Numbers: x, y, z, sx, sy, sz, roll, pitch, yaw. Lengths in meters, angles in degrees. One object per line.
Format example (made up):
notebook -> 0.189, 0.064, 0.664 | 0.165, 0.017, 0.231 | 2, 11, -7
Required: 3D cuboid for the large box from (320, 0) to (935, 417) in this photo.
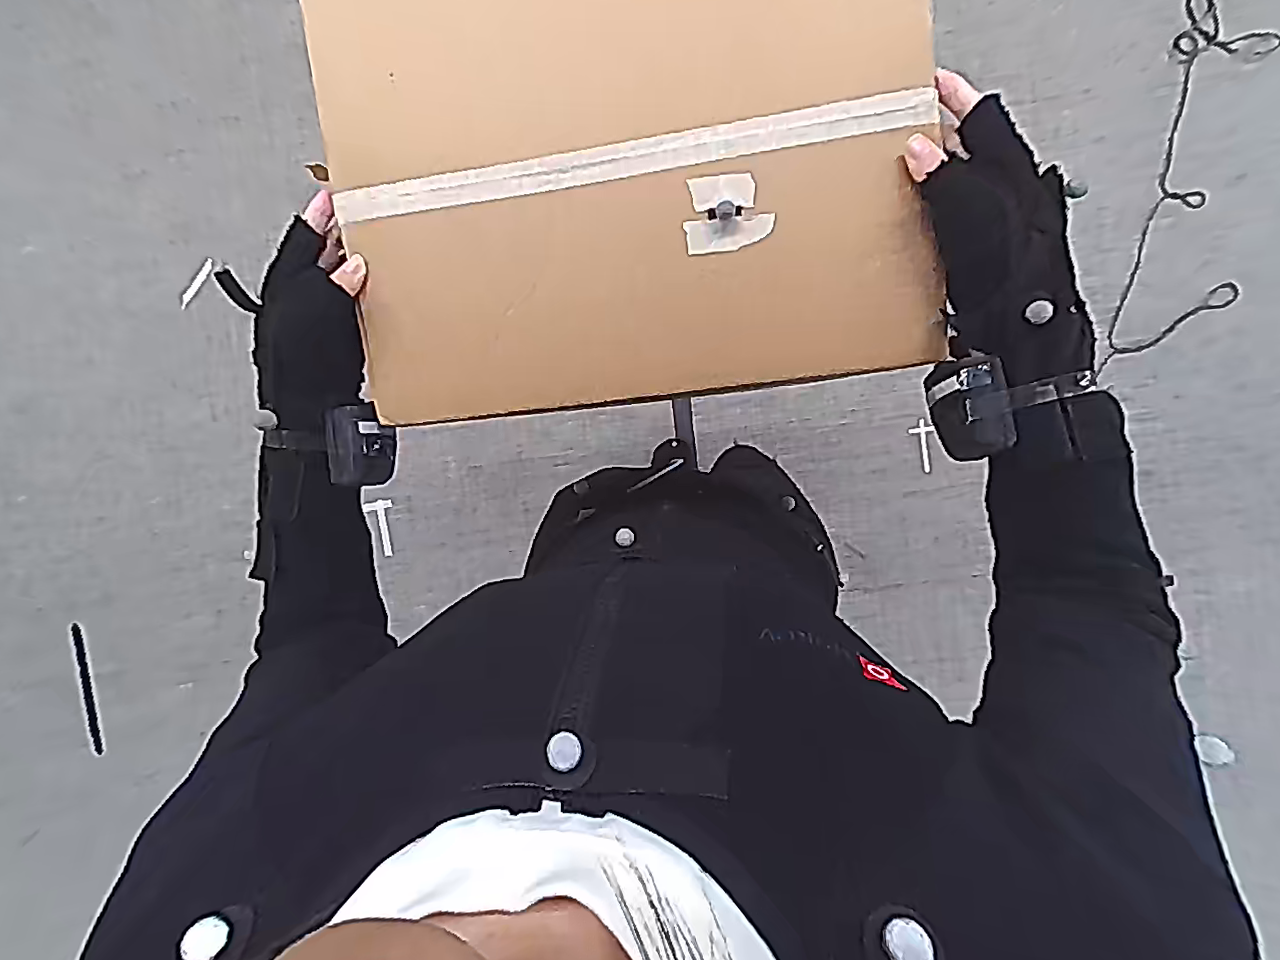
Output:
large box -> 0.001, -0.243, 0.522 | 0.408, 0.320, 0.320 | -6, 99, 6
